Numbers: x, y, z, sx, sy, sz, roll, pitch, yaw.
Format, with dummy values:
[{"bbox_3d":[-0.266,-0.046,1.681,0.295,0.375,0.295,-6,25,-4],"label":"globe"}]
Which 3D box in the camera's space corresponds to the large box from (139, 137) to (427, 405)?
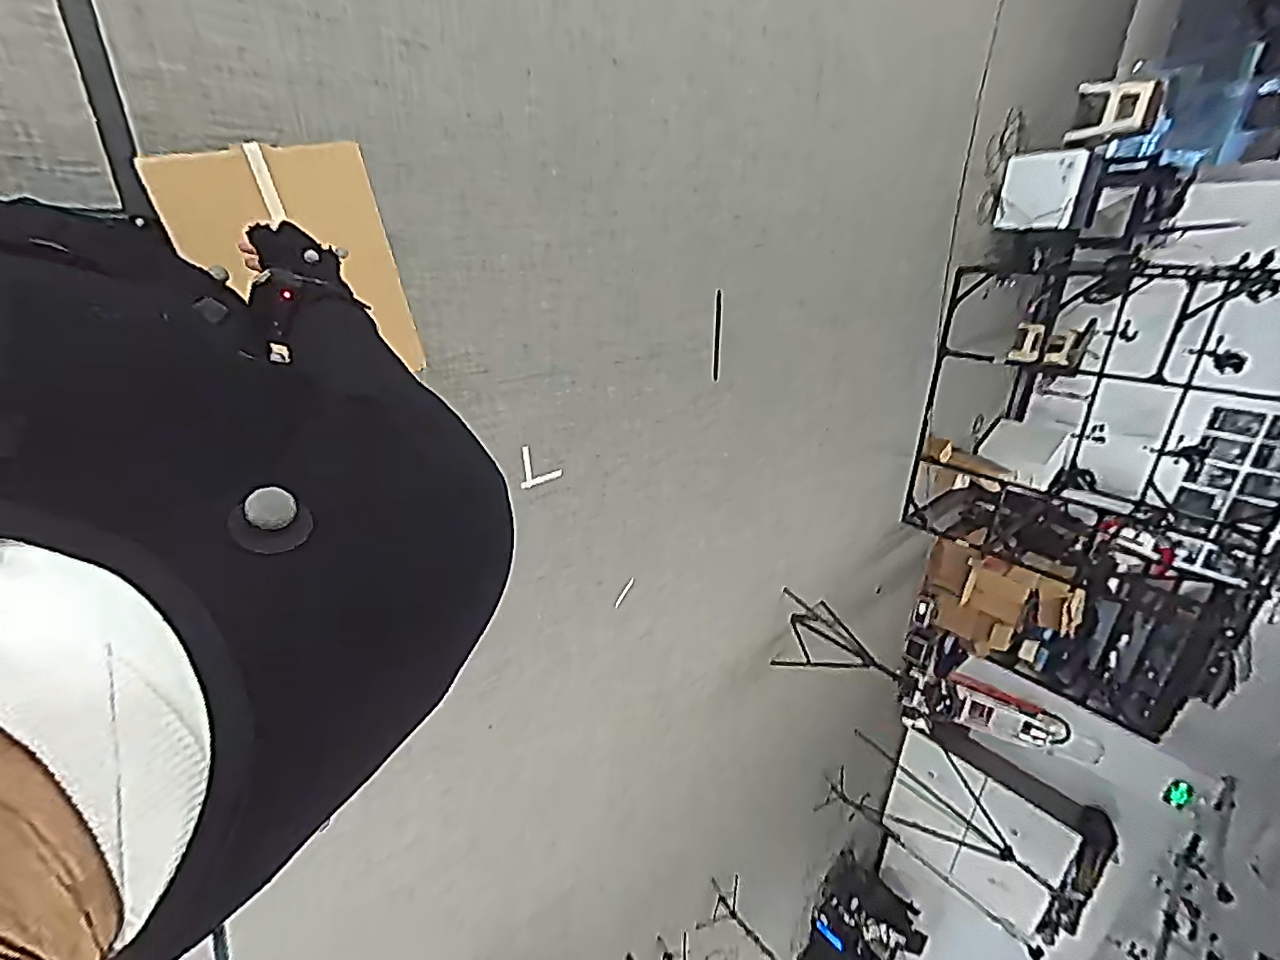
[{"bbox_3d":[-0.671,-0.413,1.061,0.320,0.320,0.408,-23,124,-26],"label":"large box"}]
